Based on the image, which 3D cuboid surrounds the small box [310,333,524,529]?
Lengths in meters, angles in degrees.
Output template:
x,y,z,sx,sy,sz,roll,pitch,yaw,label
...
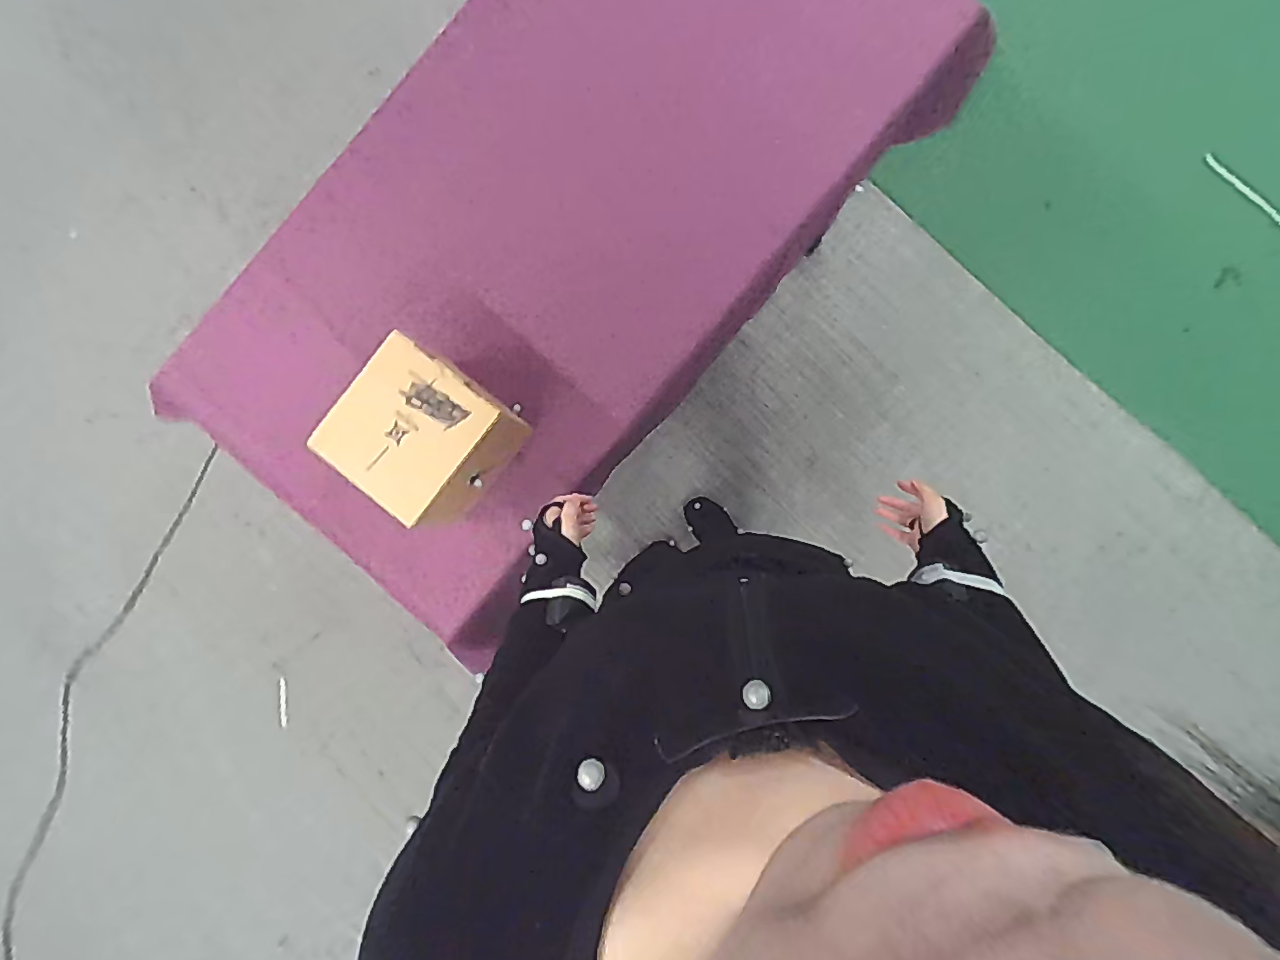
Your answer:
x,y,z,sx,sy,sz,roll,pitch,yaw,label
-0.273,-0.058,0.713,0.168,0.176,0.179,38,92,4,small box
